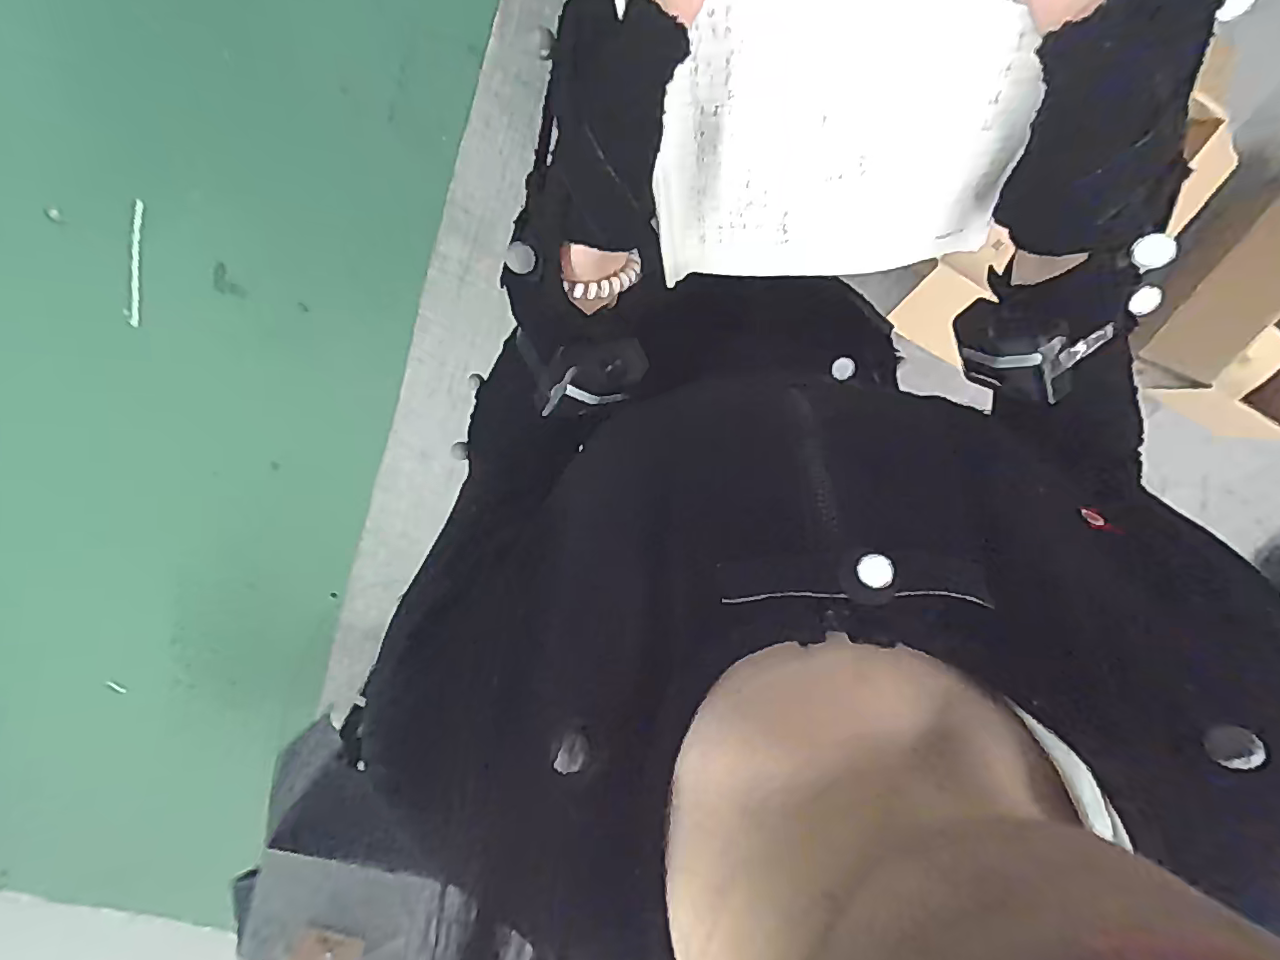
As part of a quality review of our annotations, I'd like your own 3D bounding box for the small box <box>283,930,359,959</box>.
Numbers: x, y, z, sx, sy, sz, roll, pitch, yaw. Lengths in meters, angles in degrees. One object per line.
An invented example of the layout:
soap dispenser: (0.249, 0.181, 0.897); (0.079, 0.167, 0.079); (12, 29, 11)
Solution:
small box: (-0.826, 1.267, 1.338); (0.168, 0.176, 0.179); (25, 114, -13)
